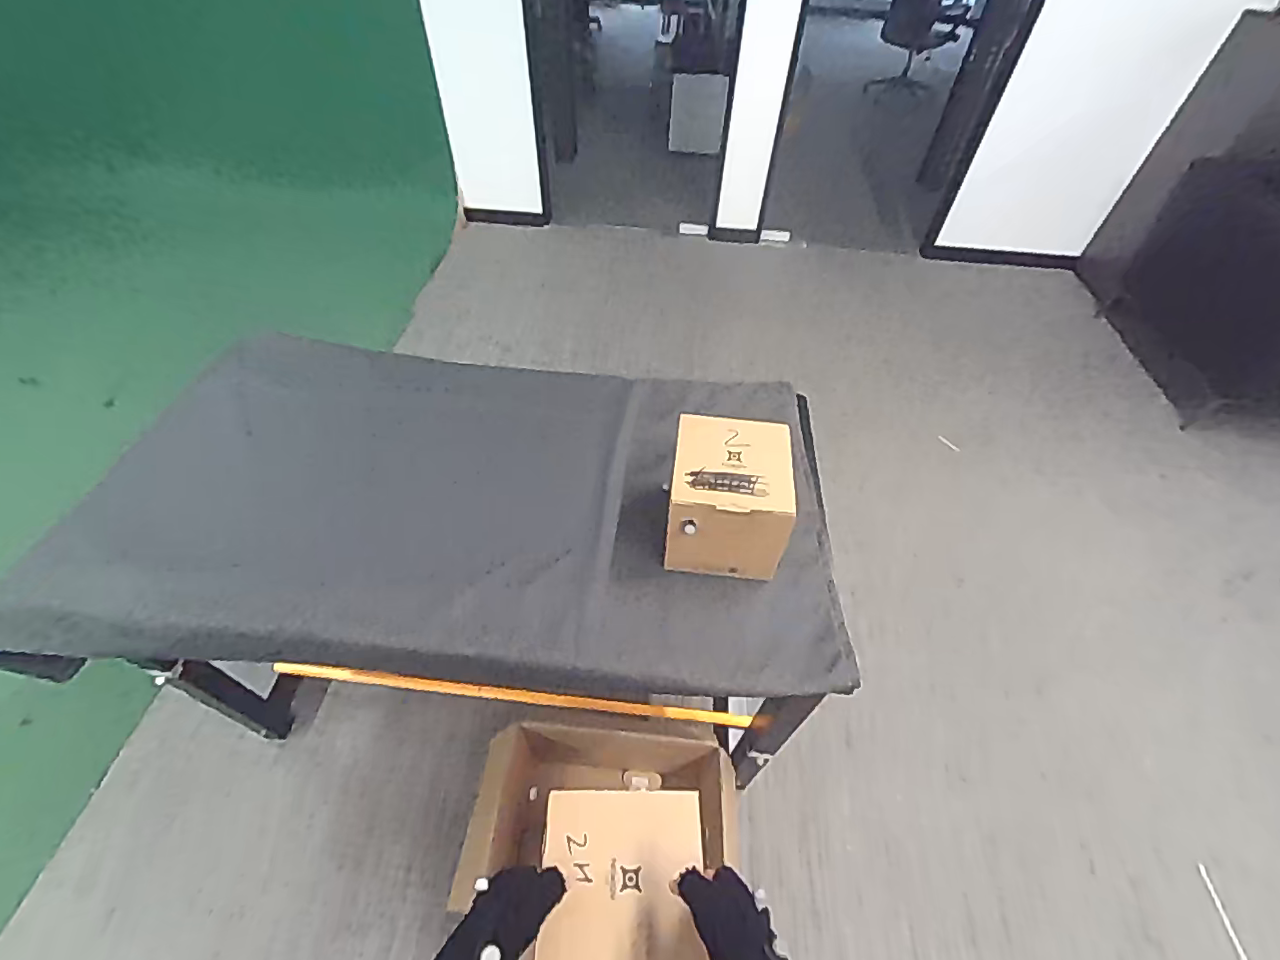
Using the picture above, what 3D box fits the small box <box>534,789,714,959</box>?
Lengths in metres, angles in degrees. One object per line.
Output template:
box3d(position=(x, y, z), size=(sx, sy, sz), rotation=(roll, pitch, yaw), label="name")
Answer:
box3d(position=(-0.019, 0.470, 0.625), size=(0.179, 0.176, 0.168), rotation=(1, 47, -2), label="small box")
